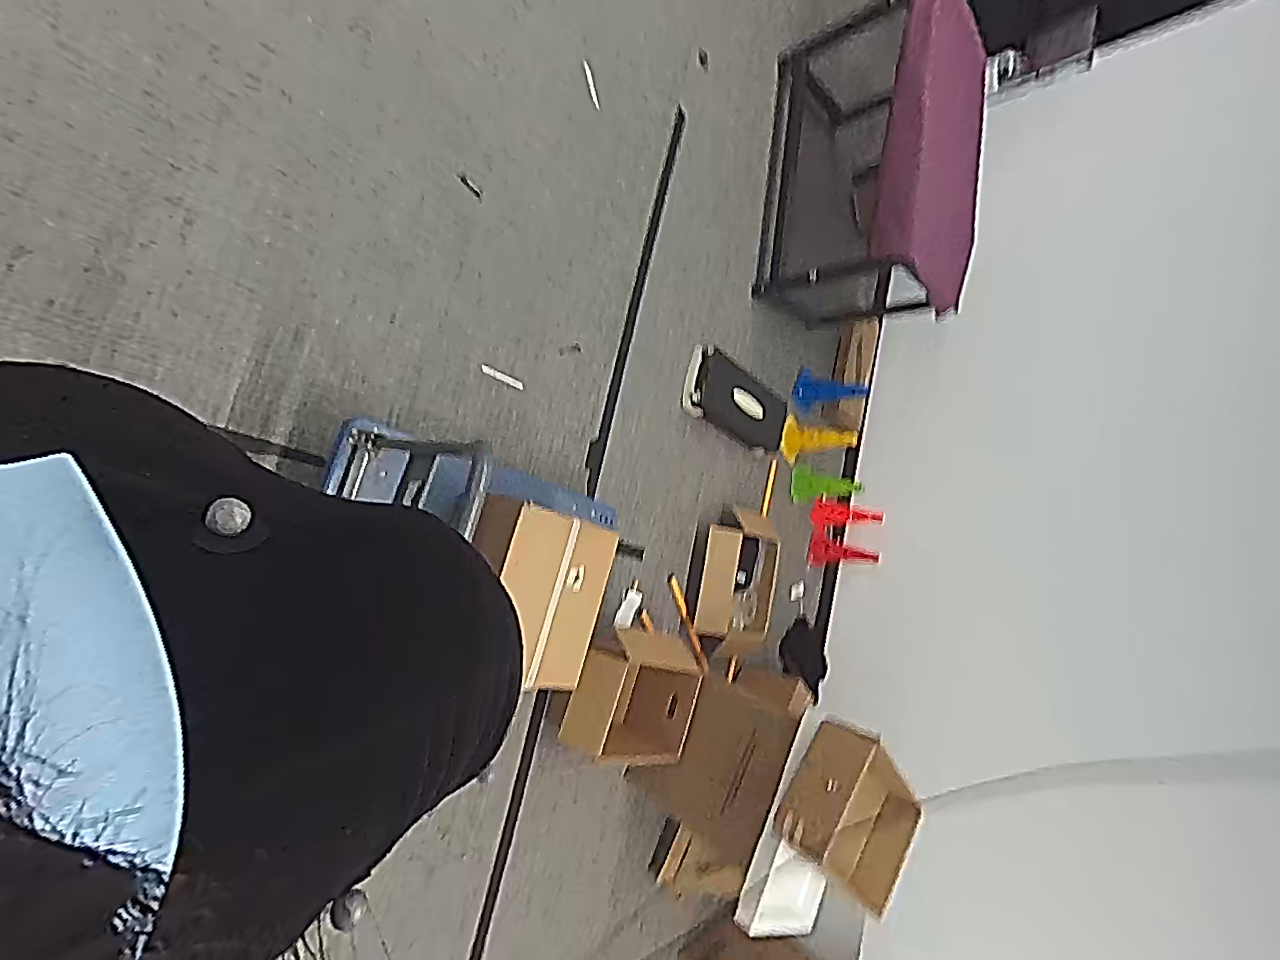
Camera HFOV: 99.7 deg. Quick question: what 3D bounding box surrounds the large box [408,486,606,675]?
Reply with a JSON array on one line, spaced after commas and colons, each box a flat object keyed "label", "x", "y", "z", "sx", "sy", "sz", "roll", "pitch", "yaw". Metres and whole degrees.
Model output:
[{"label": "large box", "x": -0.341, "y": 0.254, "z": 1.397, "sx": 0.320, "sy": 0.320, "sz": 0.408, "roll": 25, "pitch": 76, "yaw": -44}]
